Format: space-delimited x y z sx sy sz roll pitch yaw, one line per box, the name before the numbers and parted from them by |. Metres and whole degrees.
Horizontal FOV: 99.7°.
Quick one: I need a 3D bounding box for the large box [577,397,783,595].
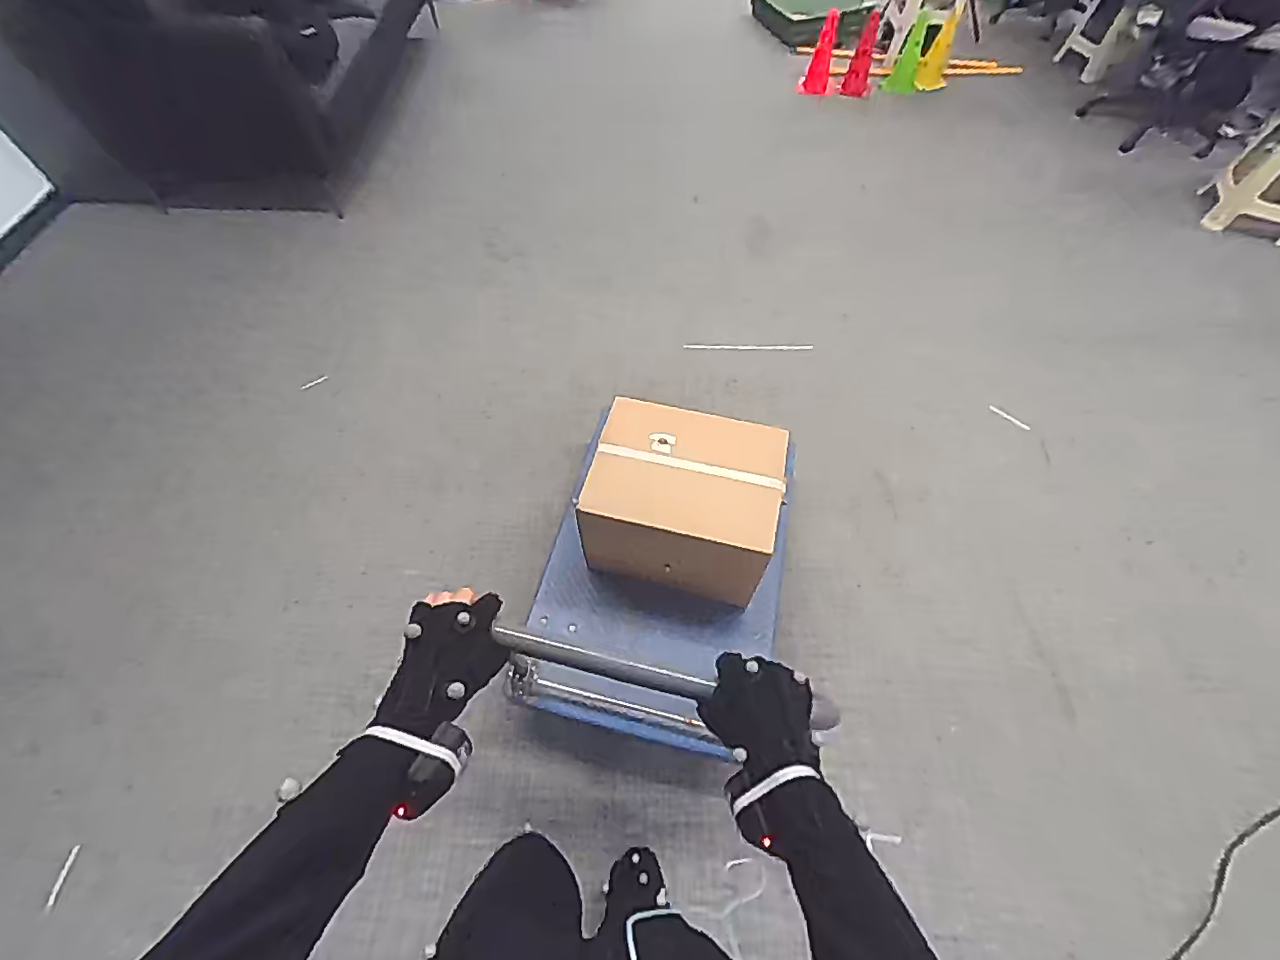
large box | 0.100 0.046 1.292 0.408 0.320 0.320 12 58 8
